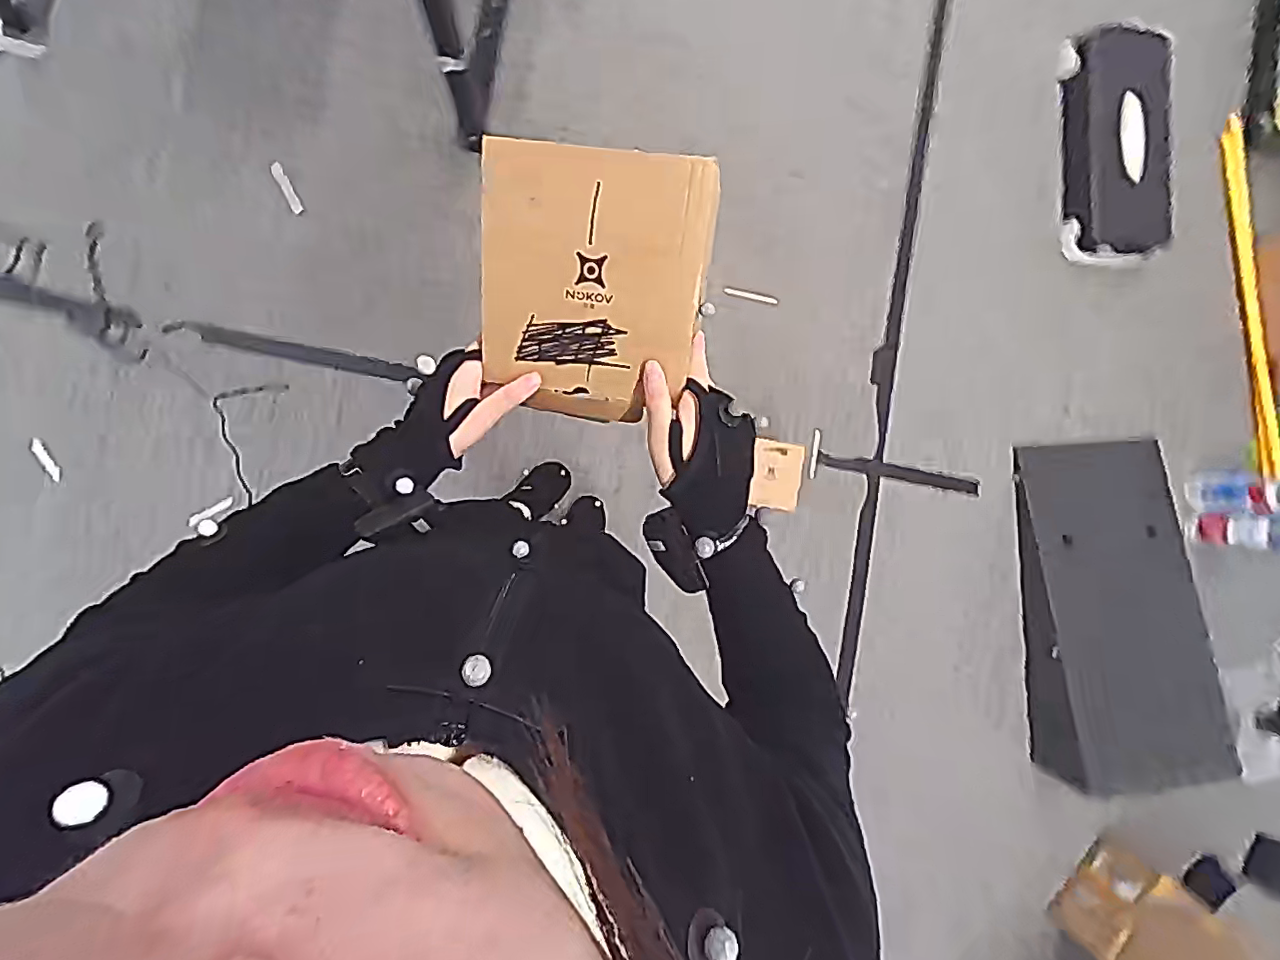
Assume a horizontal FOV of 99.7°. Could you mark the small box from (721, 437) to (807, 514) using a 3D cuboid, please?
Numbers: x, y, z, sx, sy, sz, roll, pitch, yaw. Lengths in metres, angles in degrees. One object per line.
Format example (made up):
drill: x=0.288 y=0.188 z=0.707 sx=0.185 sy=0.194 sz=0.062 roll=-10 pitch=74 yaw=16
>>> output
small box: x=0.327 y=-0.014 z=1.464 sx=0.168 sy=0.176 sz=0.179 roll=10 pitch=91 yaw=-7

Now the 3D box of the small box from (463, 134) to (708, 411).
small box: x=-0.034 y=-0.172 z=0.460 sx=0.168 sy=0.176 sz=0.179 roll=7 pitch=113 yaw=5
